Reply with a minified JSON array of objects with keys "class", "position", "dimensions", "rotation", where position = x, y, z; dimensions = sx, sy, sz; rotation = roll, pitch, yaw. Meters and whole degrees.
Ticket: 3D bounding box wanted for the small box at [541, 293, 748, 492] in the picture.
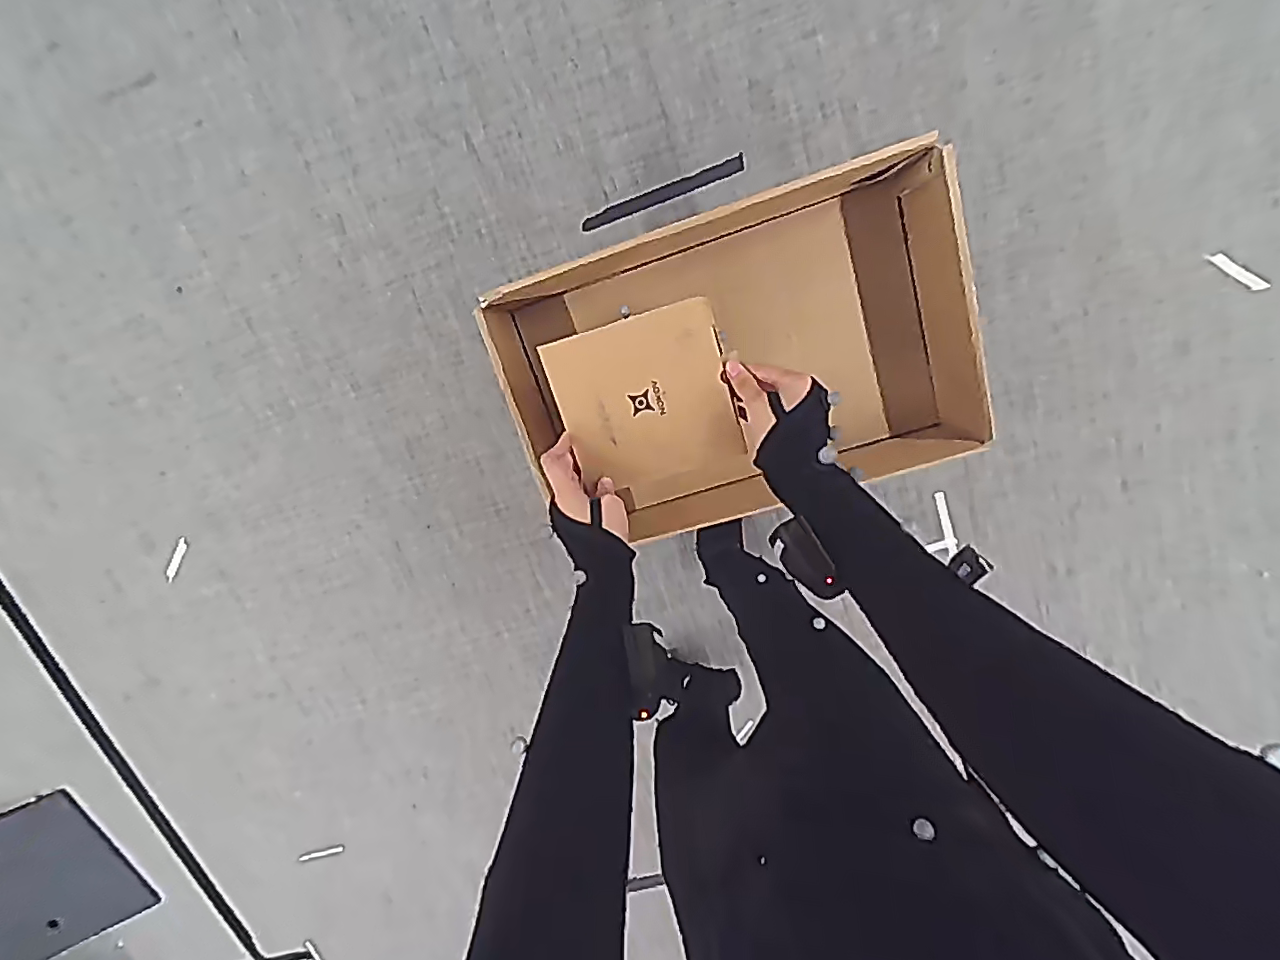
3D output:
[{"class":"small box","position":[0.009,-0.106,0.618],"dimensions":[0.179,0.176,0.168],"rotation":[-15,104,8]}]
